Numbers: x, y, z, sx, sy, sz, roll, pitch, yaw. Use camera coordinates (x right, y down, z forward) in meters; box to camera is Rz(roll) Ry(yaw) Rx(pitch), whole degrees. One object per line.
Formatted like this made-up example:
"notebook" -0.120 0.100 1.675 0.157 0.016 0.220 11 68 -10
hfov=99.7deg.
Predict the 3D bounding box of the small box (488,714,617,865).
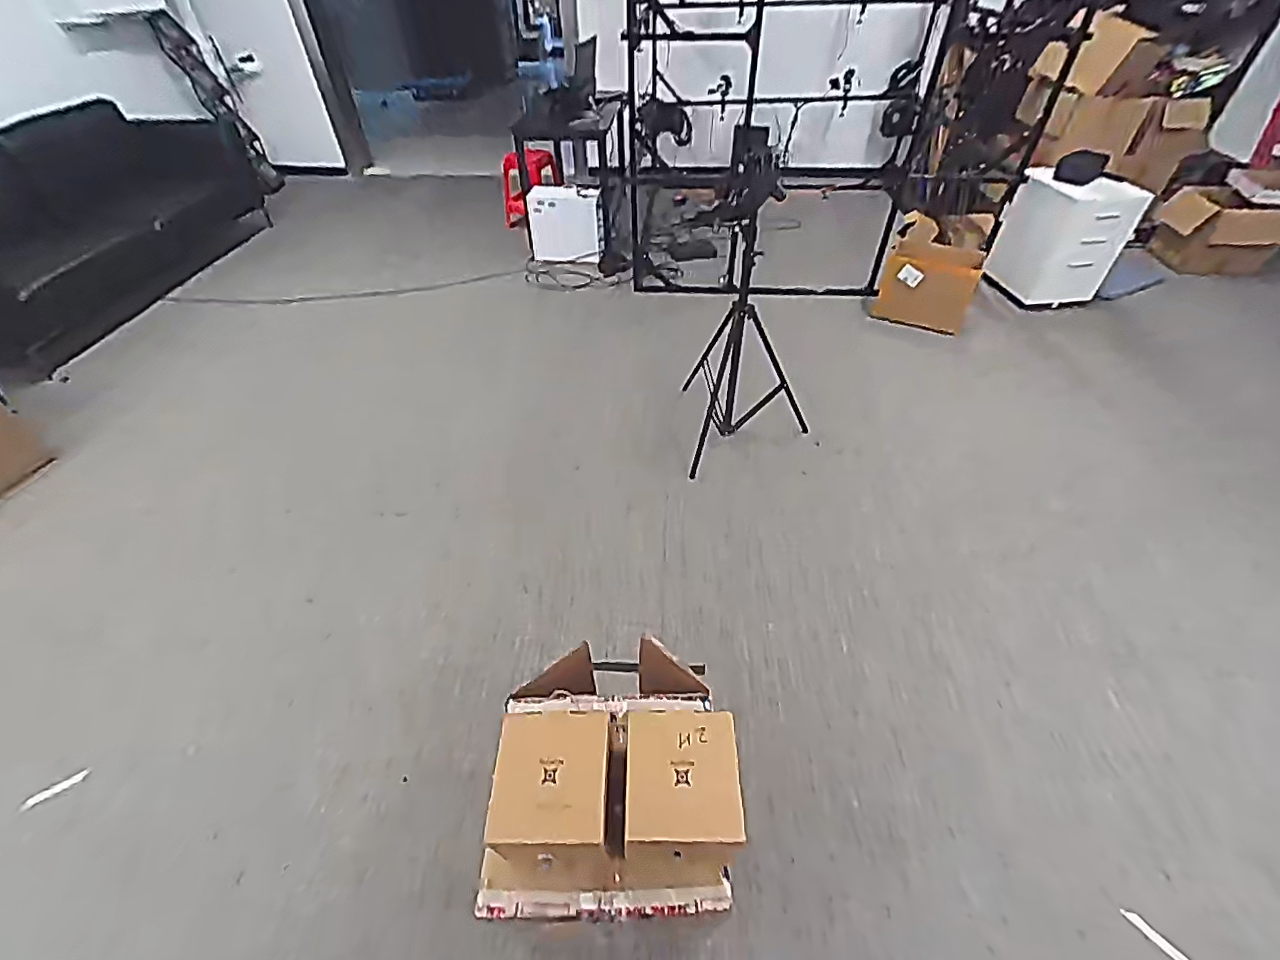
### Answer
"small box" -0.126 0.487 0.850 0.168 0.176 0.179 -2 48 1

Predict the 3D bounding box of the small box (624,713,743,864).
"small box" 0.062 0.486 0.847 0.168 0.176 0.179 1 46 0
